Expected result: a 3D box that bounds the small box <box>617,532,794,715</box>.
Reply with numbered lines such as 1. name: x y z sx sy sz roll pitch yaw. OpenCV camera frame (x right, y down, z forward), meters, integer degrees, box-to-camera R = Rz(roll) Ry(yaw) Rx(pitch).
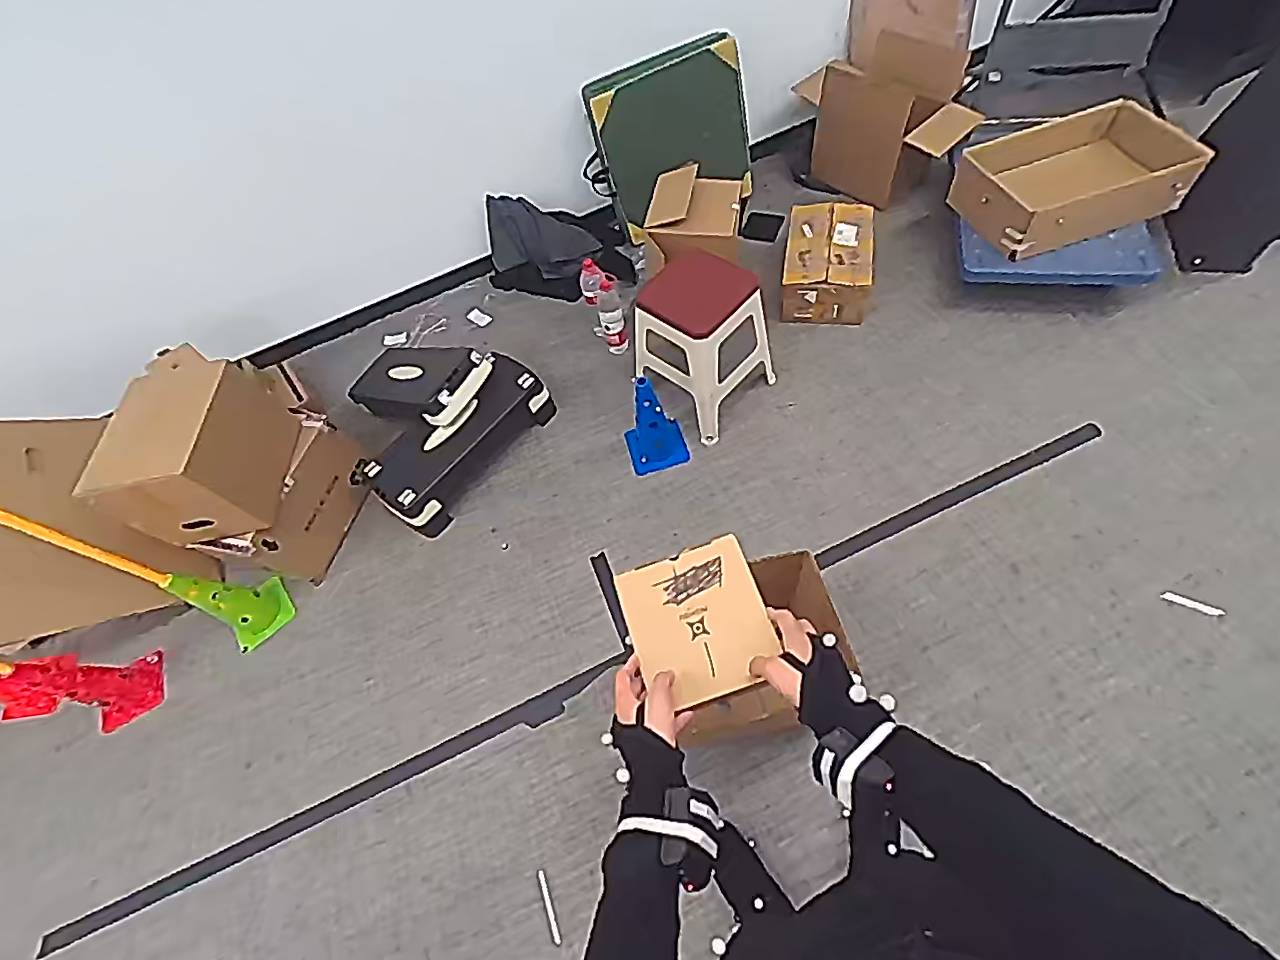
1. small box: 0.084 0.196 0.708 0.168 0.176 0.179 -21 65 2
